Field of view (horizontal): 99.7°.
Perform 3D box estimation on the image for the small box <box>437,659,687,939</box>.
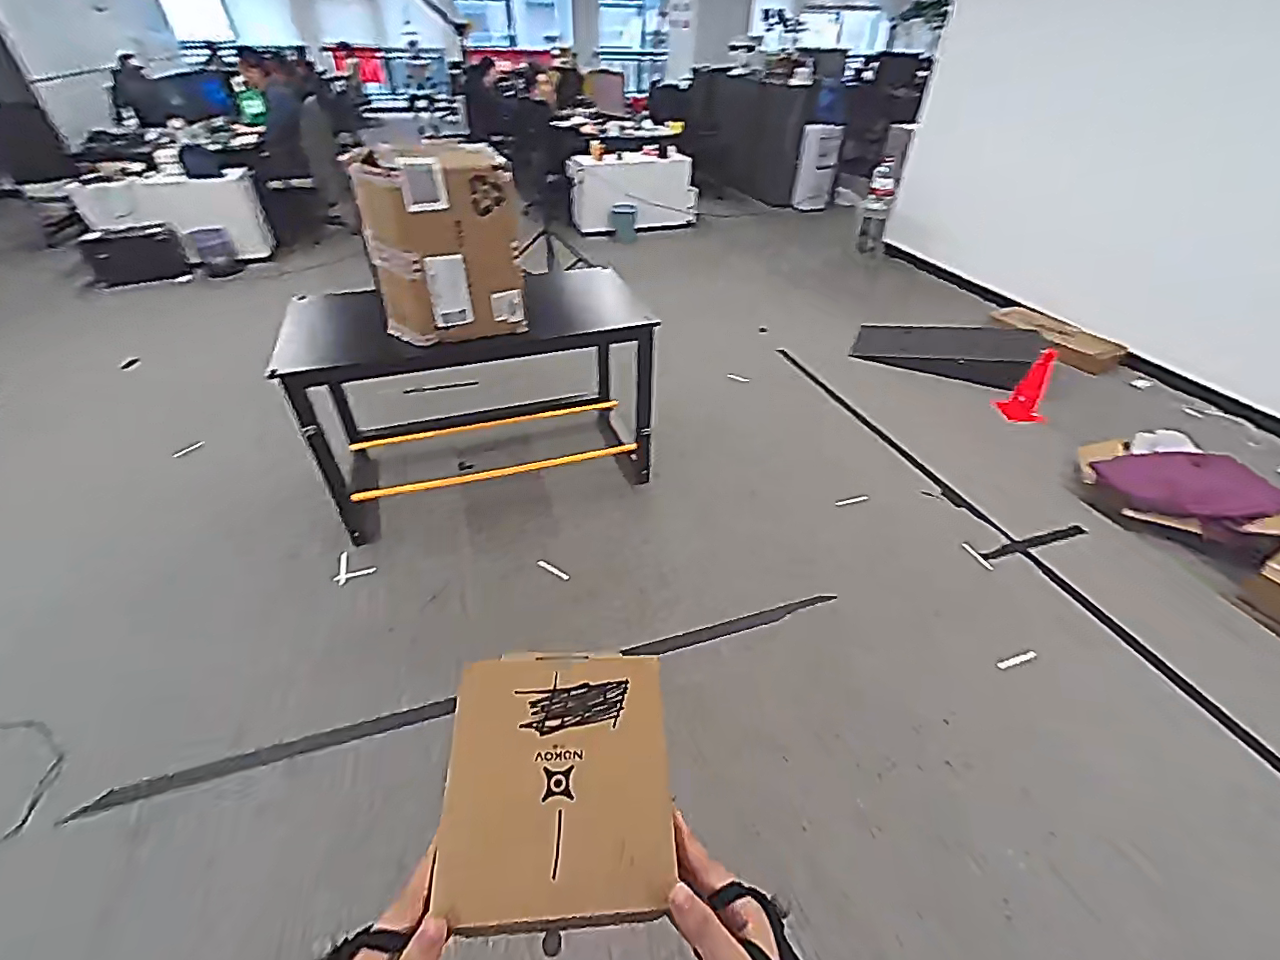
[{"bbox_3d":[-0.063,0.273,0.466,0.168,0.176,0.179,0,49,-7],"label":"small box"}]
